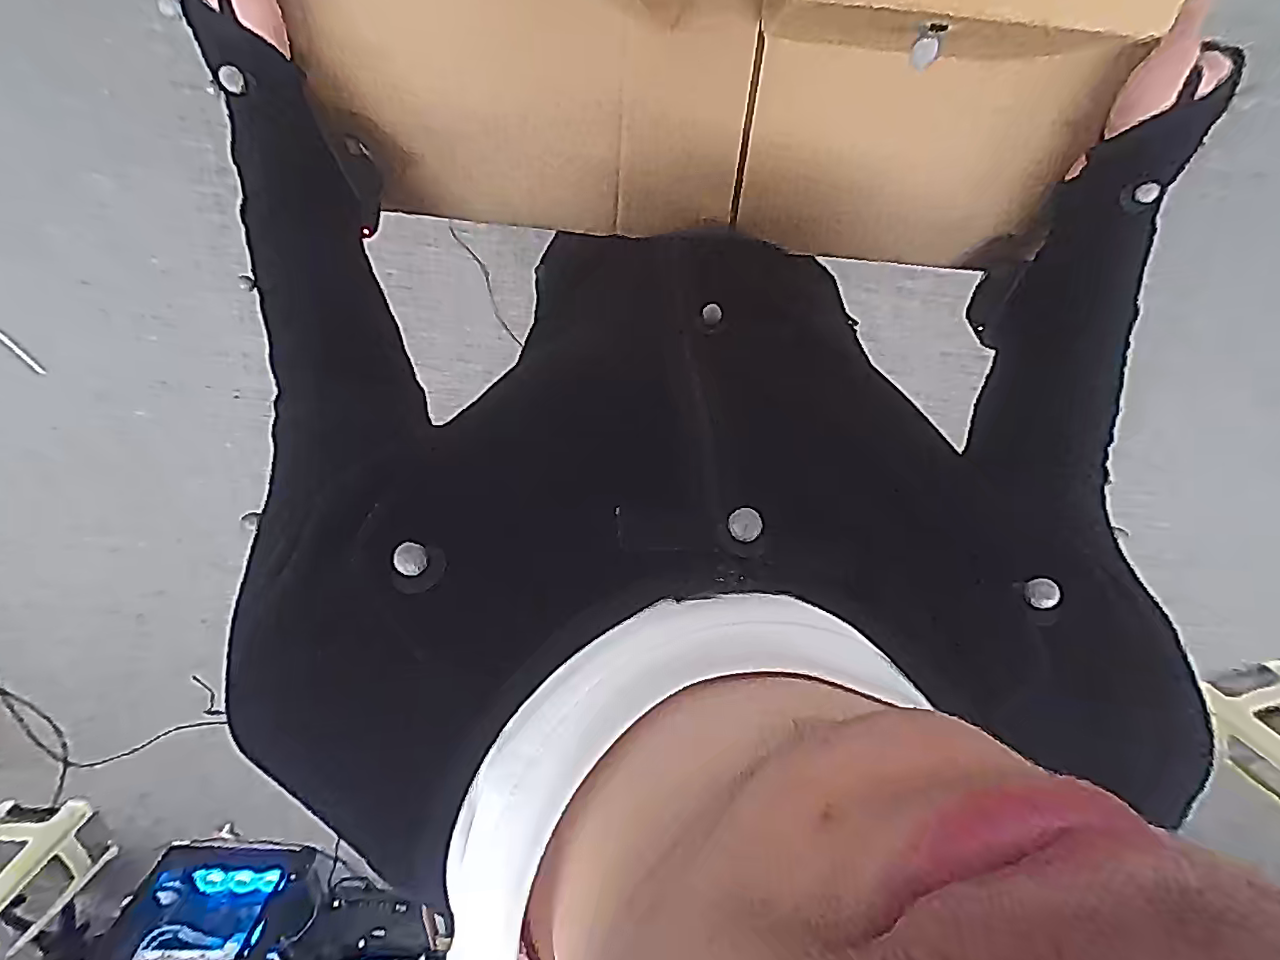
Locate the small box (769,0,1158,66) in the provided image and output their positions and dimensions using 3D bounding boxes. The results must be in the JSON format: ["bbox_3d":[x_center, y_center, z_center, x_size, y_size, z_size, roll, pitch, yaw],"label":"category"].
[{"bbox_3d":[0.179,-0.339,0.293,0.179,0.176,0.168,8,124,3],"label":"small box"}]
